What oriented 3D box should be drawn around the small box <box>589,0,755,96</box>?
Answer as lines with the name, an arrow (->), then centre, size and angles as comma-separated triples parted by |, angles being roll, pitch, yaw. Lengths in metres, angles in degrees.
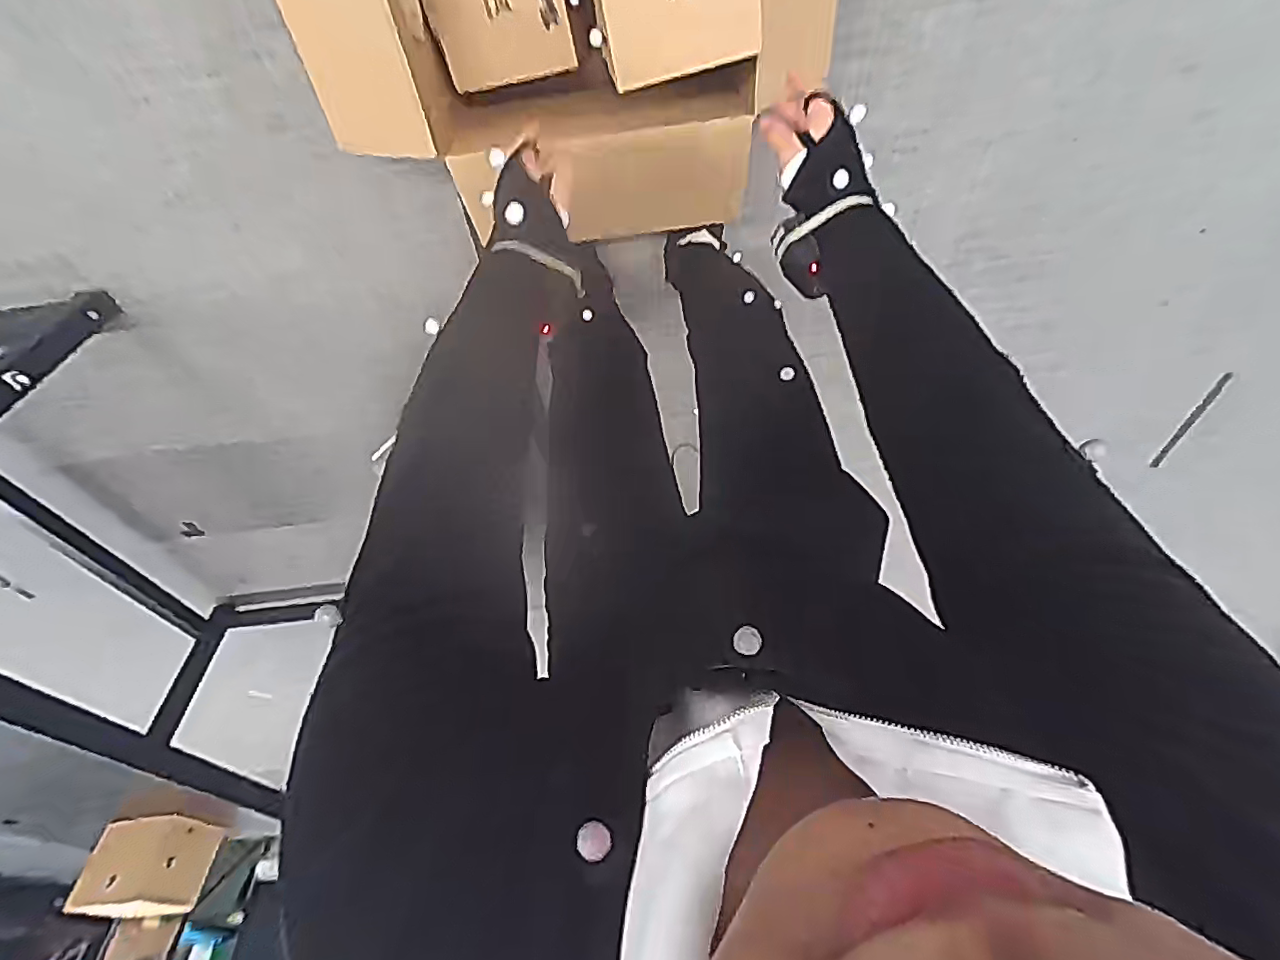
small box -> 0.025, -0.565, 0.597 | 0.168, 0.176, 0.179 | -13, 137, 3

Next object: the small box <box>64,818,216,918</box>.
small box -> -1.148, 0.907, 1.266 | 0.179, 0.176, 0.168 | -9, 135, 7
